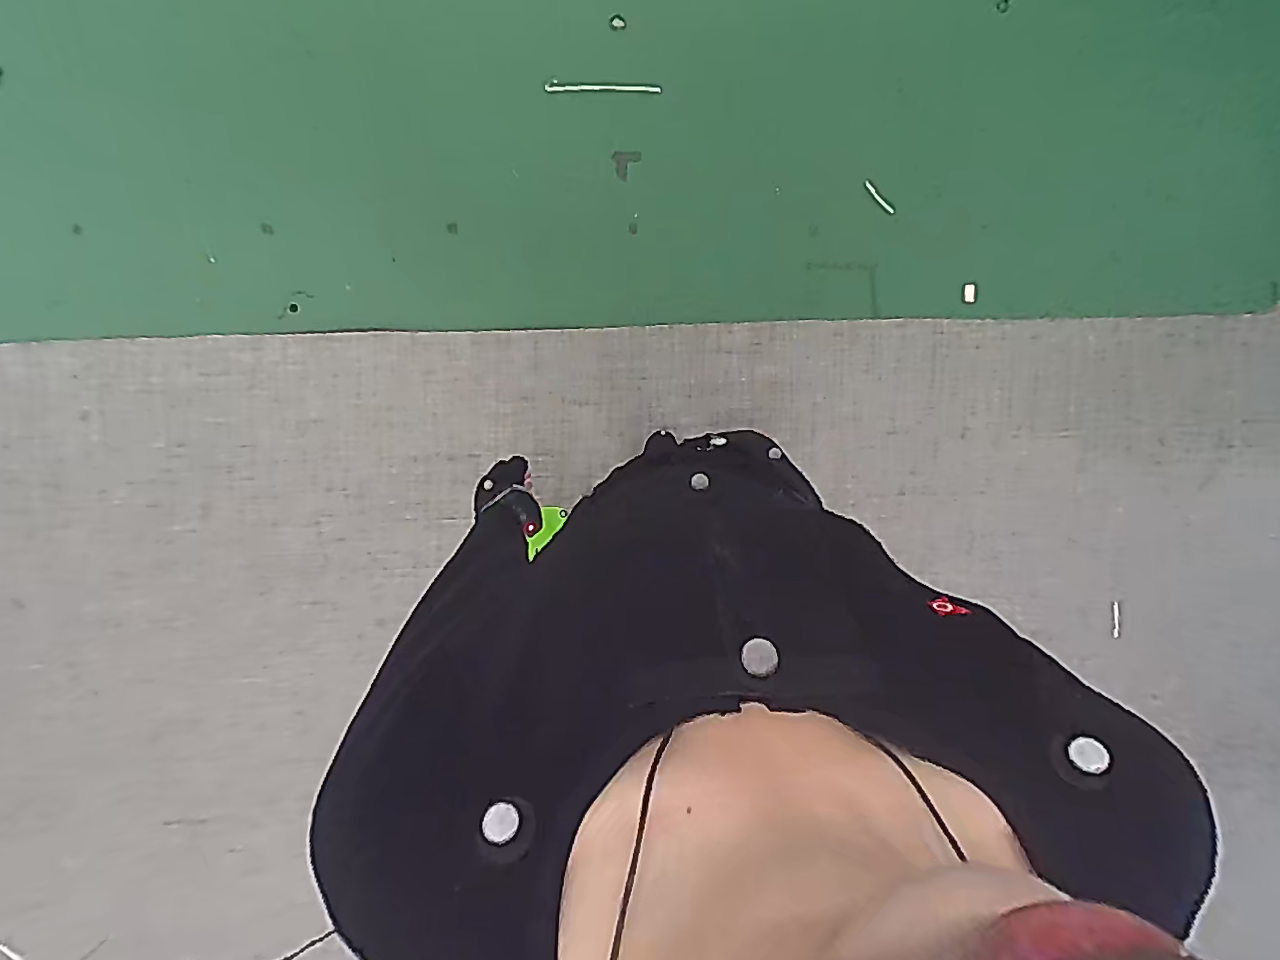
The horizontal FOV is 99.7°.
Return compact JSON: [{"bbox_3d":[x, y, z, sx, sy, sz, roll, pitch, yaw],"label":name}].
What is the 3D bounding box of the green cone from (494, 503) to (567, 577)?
[{"bbox_3d":[-0.295,0.172,1.314,0.200,0.368,0.202,1,92,-2],"label":"green cone"}]
